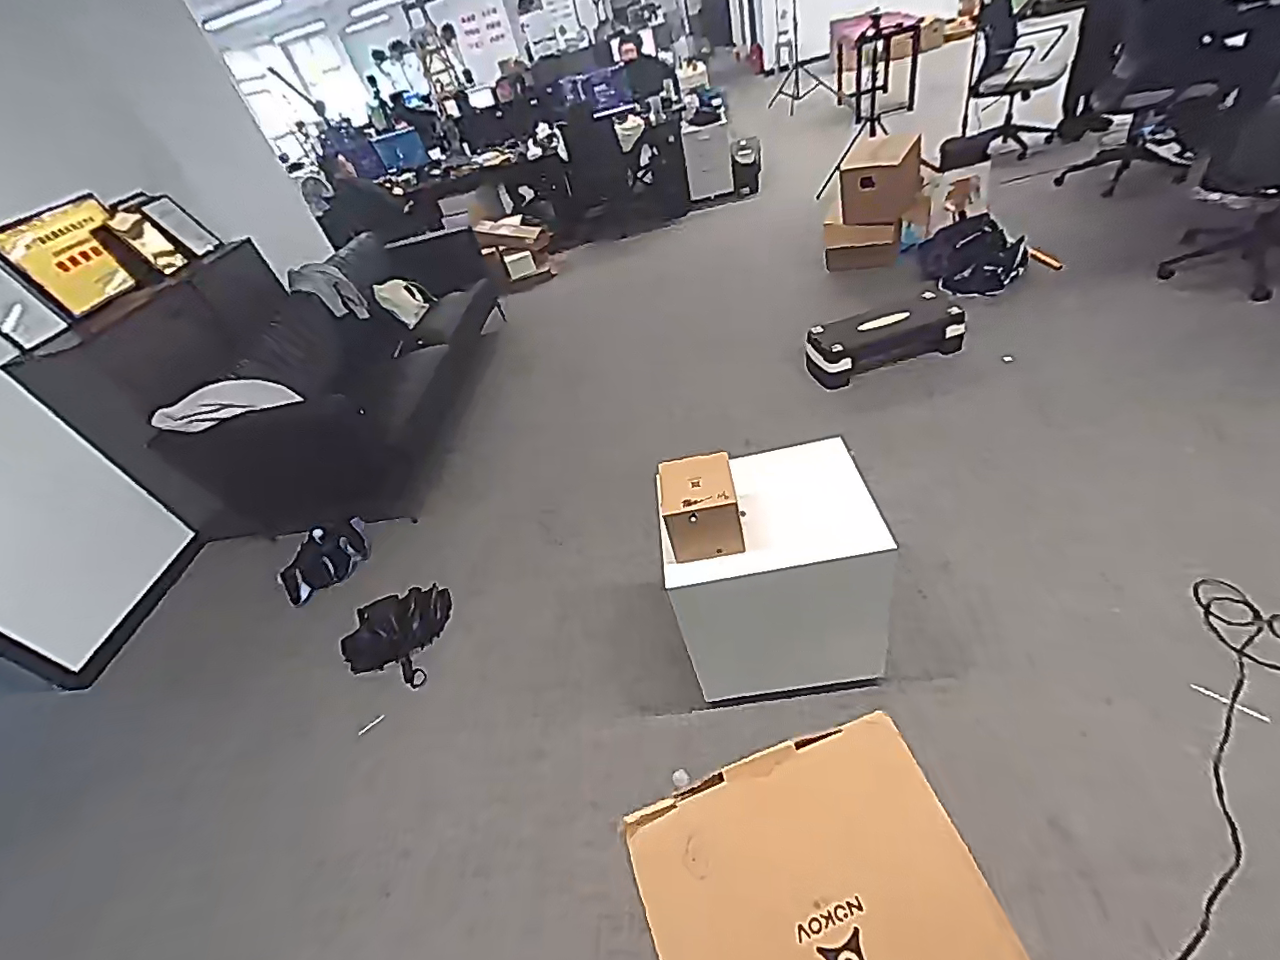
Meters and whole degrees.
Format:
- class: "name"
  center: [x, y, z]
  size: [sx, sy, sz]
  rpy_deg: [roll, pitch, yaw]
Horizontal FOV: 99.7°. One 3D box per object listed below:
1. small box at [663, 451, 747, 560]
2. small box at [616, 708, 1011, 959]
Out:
- class: "small box"
  center: [0.151, 0.060, 1.264]
  size: [0.168, 0.176, 0.179]
  rpy_deg: [-11, 40, 9]
- class: "small box"
  center: [0.086, 0.267, 0.325]
  size: [0.168, 0.176, 0.179]
  rpy_deg: [-16, 59, -12]
